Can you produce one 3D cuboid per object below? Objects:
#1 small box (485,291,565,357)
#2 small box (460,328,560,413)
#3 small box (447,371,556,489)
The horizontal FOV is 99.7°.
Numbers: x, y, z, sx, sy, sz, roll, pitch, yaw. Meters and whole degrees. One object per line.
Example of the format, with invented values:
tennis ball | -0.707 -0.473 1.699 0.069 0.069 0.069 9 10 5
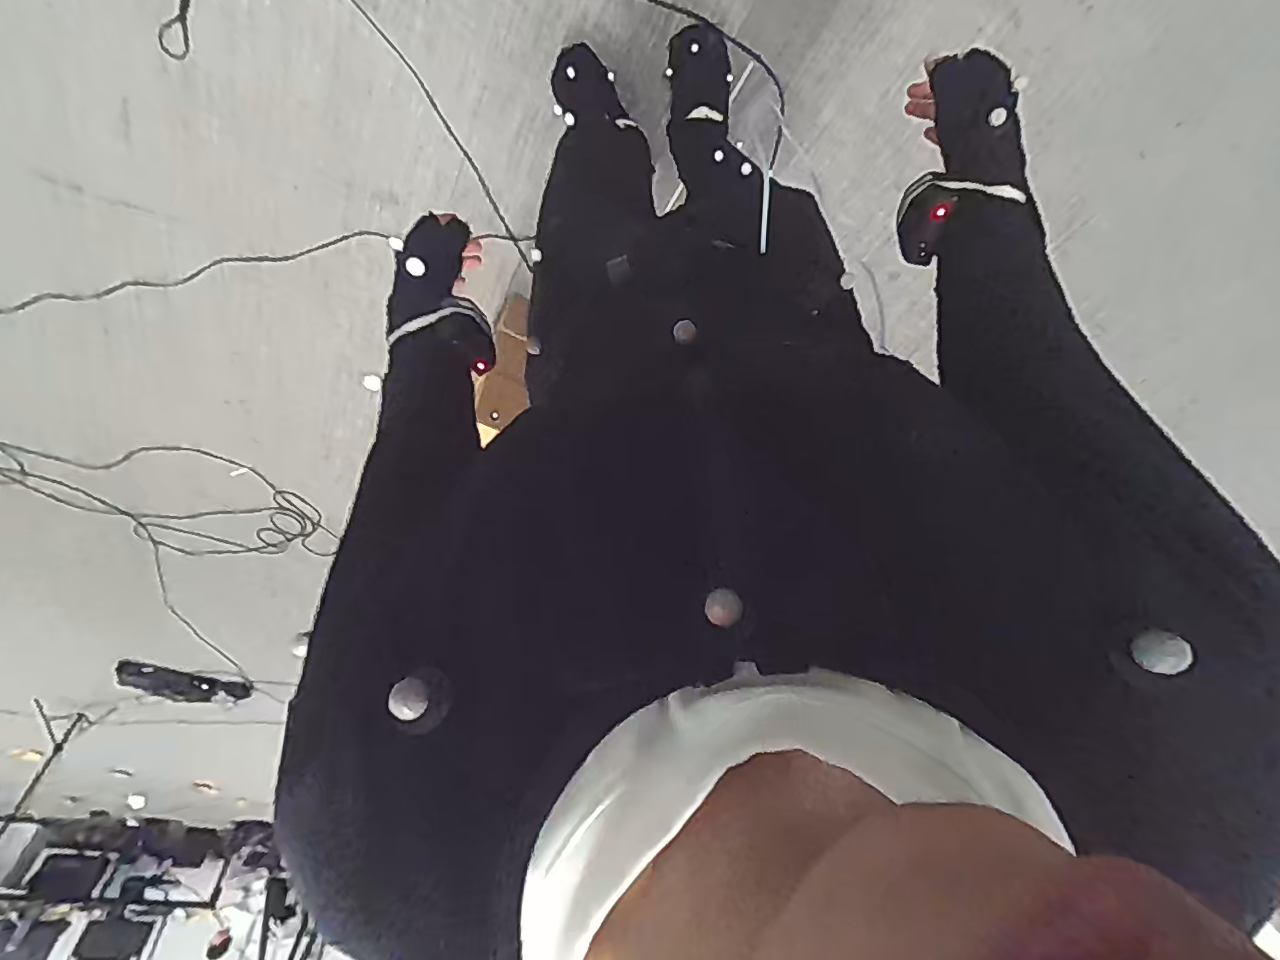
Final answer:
small box | -0.306 -0.363 1.425 0.168 0.176 0.179 23 133 -23
small box | -0.311 -0.238 1.318 0.179 0.176 0.168 24 133 -23
small box | -0.304 -0.114 1.212 0.179 0.176 0.168 24 133 -23
